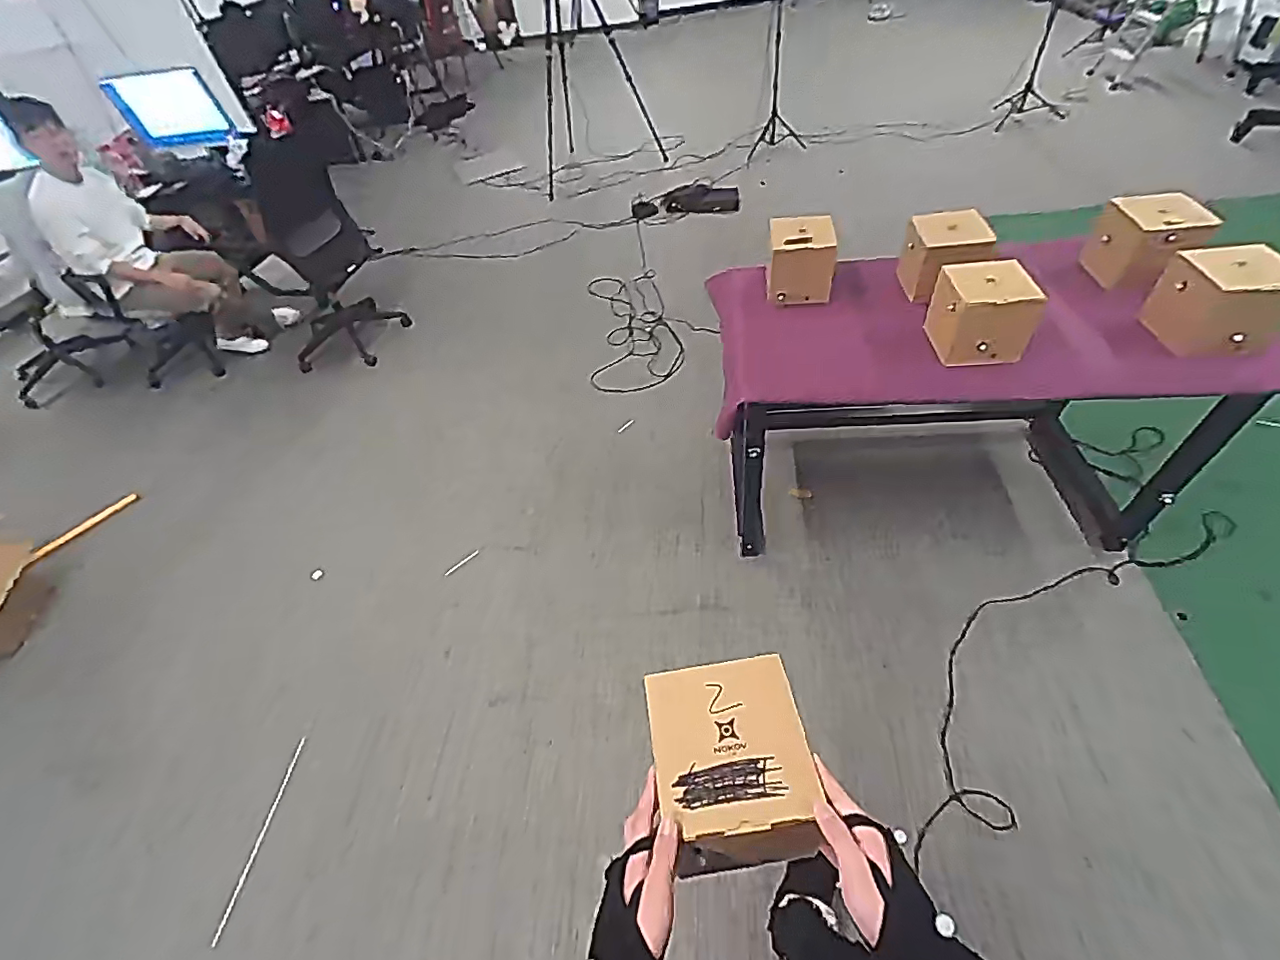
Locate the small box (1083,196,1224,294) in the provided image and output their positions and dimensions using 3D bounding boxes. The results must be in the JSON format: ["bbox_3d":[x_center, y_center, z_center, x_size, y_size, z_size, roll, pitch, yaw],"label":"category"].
[{"bbox_3d":[1.277,-0.591,1.365,0.168,0.176,0.179,-3,49,9],"label":"small box"}]

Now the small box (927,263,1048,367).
[{"bbox_3d":[0.798,-0.386,1.268,0.168,0.176,0.179,-2,49,8],"label":"small box"}]

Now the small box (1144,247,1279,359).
[{"bbox_3d":[1.268,-0.384,1.180,0.168,0.176,0.179,-1,48,10],"label":"small box"}]

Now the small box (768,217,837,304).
[{"bbox_3d":[0.451,-0.610,1.517,0.168,0.176,0.179,1,50,9],"label":"small box"}]

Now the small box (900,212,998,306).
[{"bbox_3d":[0.811,-0.588,1.444,0.168,0.176,0.179,-1,50,9],"label":"small box"}]
